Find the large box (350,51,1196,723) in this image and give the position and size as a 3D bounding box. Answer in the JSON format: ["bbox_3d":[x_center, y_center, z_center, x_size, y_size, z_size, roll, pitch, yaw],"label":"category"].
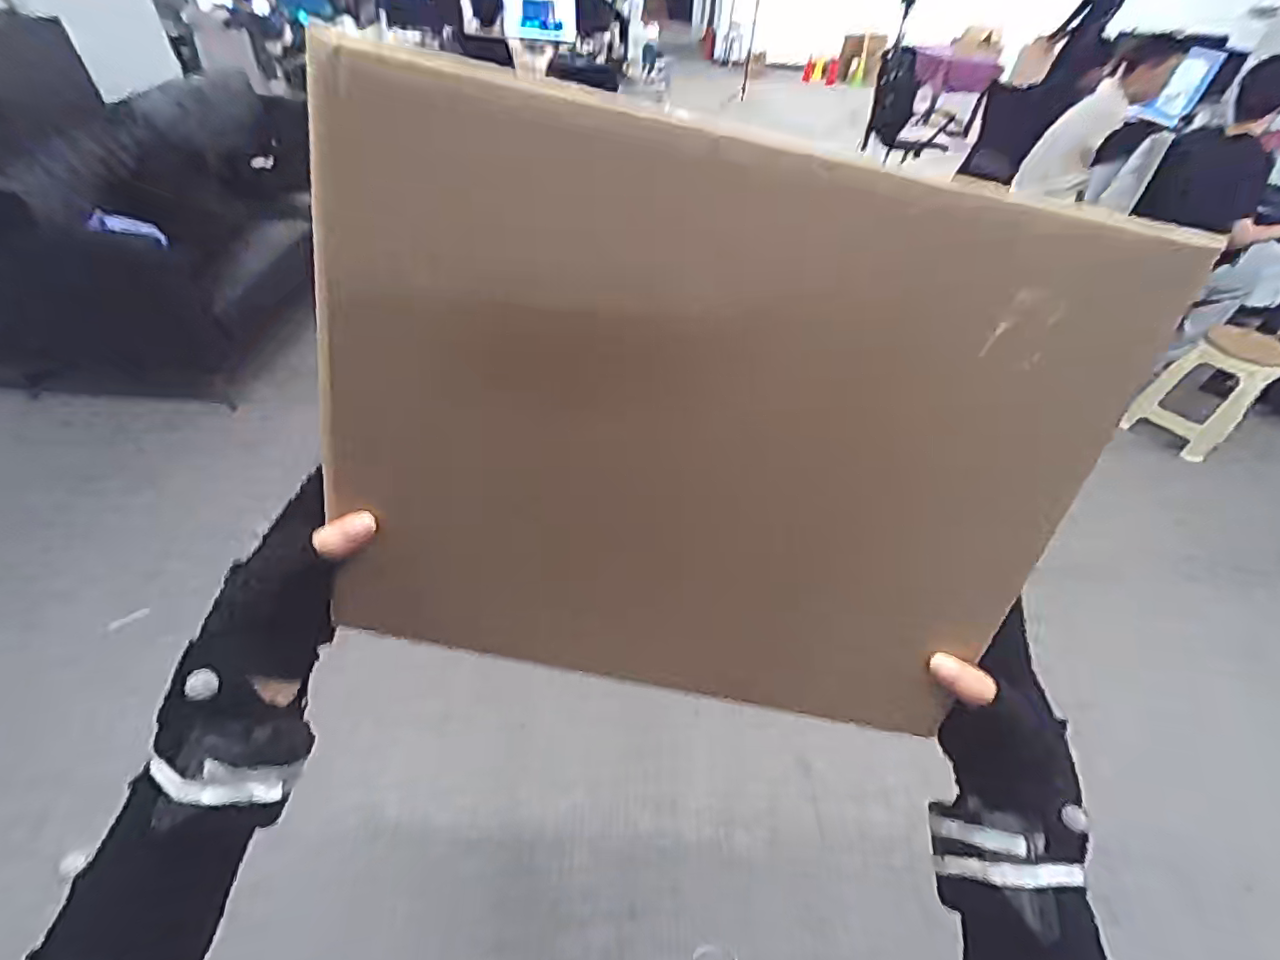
[{"bbox_3d":[0.042,-0.061,0.435,0.408,0.320,0.320,13,24,-4],"label":"large box"}]
